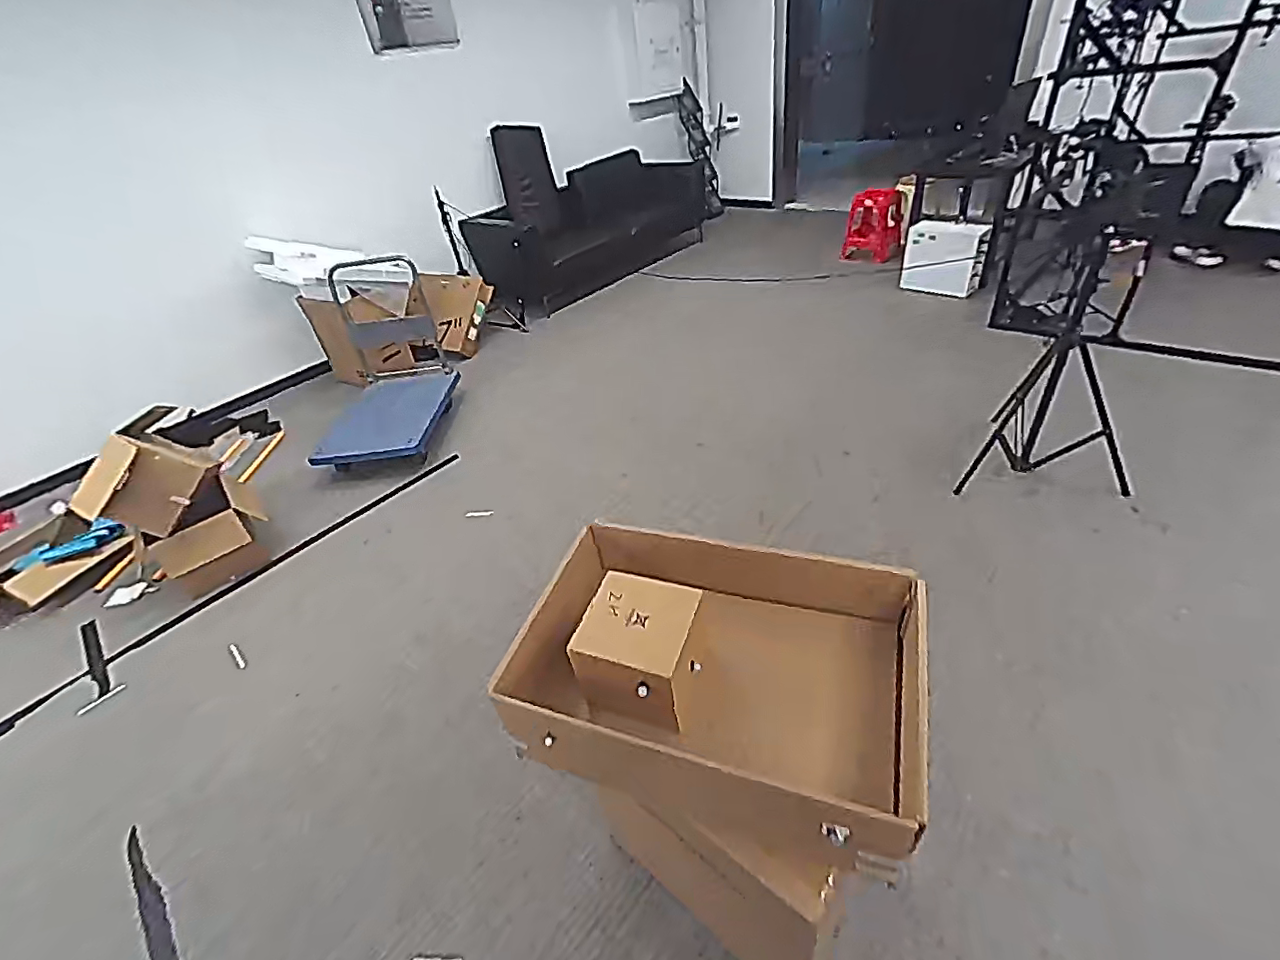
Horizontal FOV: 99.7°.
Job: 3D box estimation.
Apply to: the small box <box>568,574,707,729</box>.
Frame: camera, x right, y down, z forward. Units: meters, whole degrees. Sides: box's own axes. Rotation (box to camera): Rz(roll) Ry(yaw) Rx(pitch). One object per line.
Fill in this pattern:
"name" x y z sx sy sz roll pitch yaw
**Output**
"small box" 0.008 0.289 0.908 0.179 0.176 0.168 8 41 22
